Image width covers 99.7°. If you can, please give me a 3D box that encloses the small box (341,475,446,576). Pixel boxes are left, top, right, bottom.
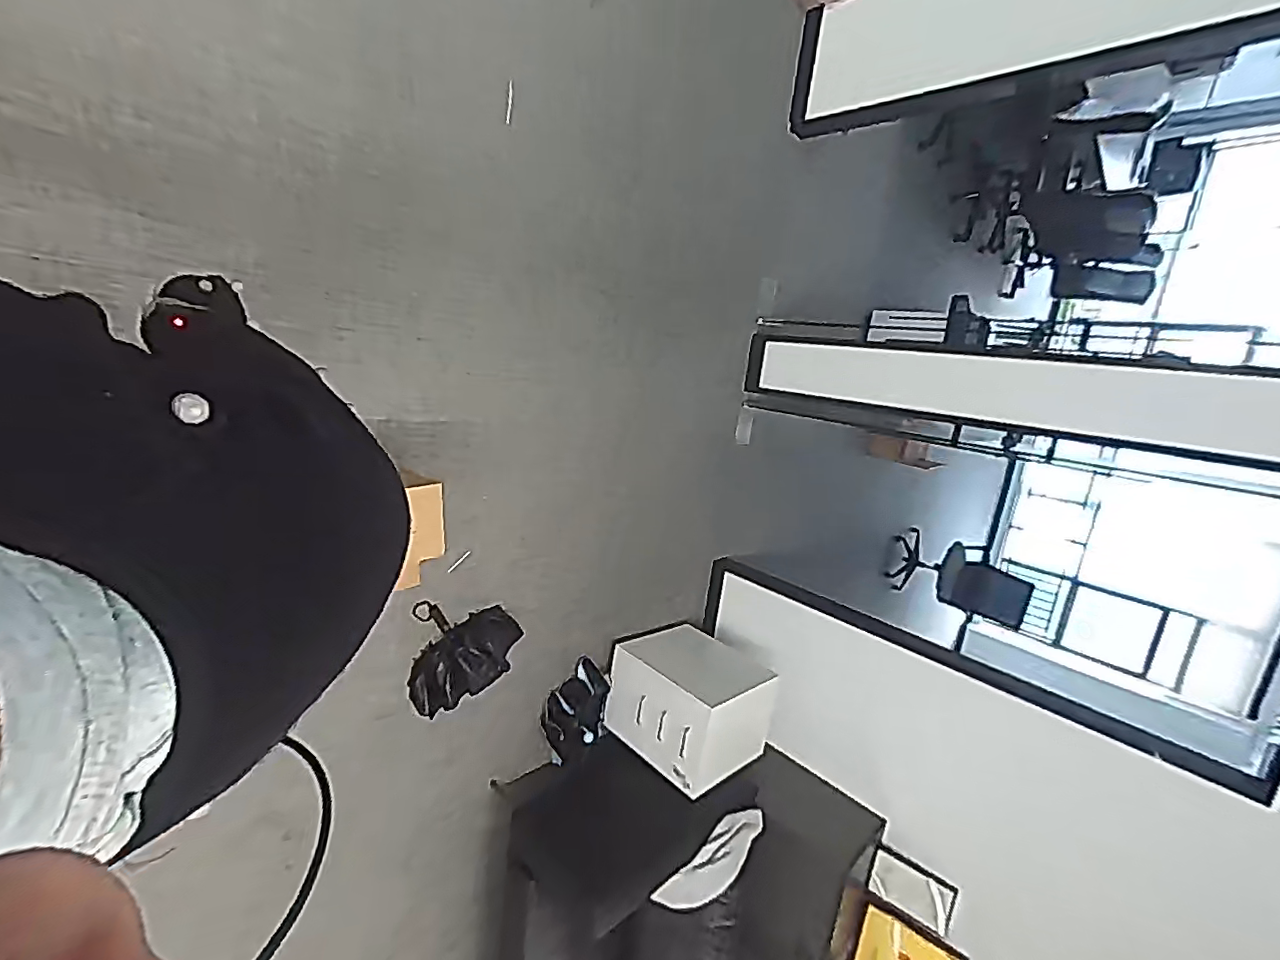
[{"bbox_3d":[-0.559,0.096,1.227,0.168,0.176,0.179,-12,107,-45],"label":"small box"}]
